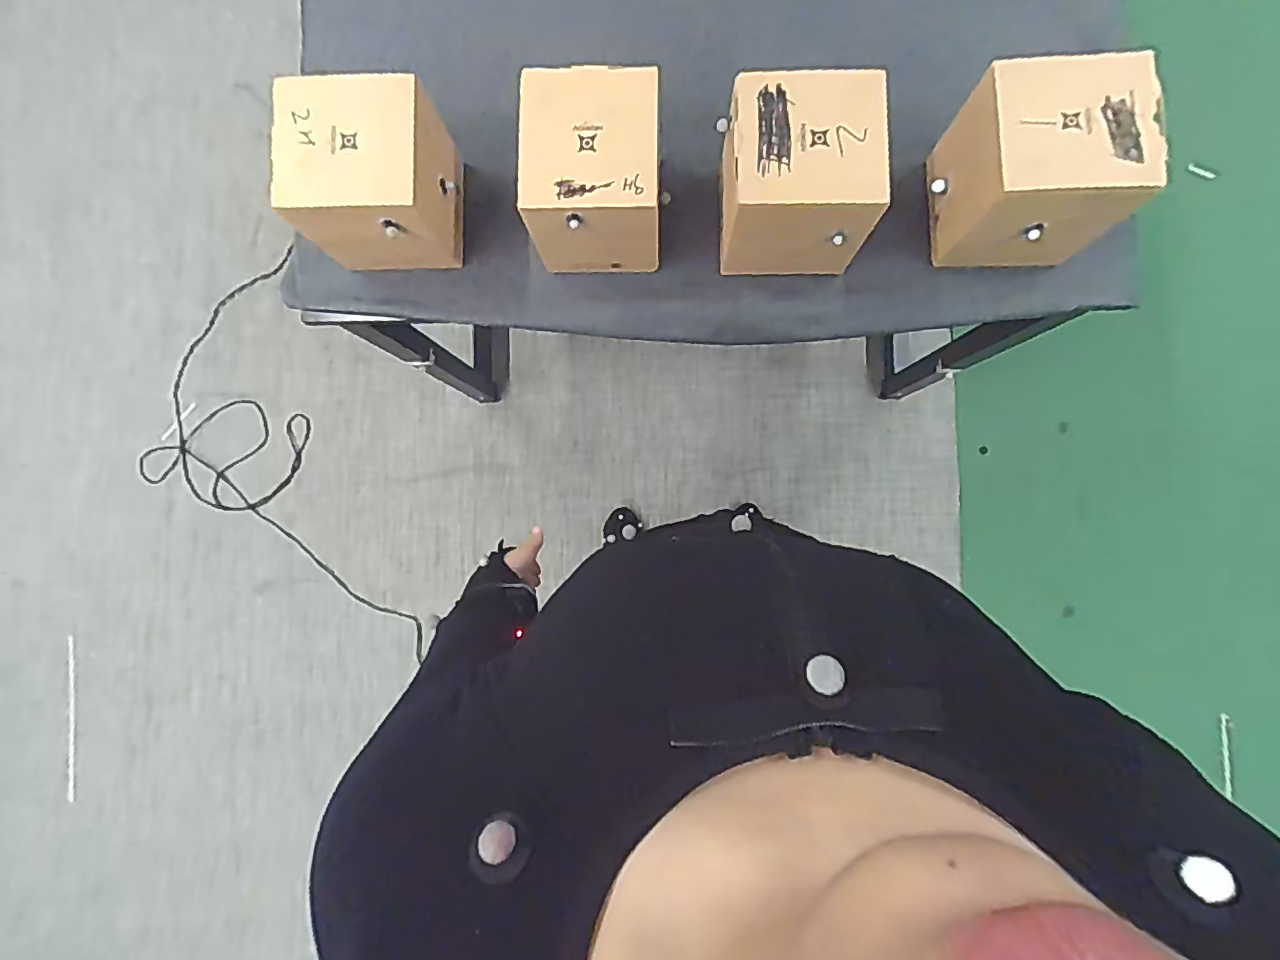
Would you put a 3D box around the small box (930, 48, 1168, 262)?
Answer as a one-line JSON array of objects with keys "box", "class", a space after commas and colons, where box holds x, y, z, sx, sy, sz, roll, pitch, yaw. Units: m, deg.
[{"box": [0.491, -0.391, 0.676, 0.179, 0.176, 0.168, 1, 84, 4], "class": "small box"}]
